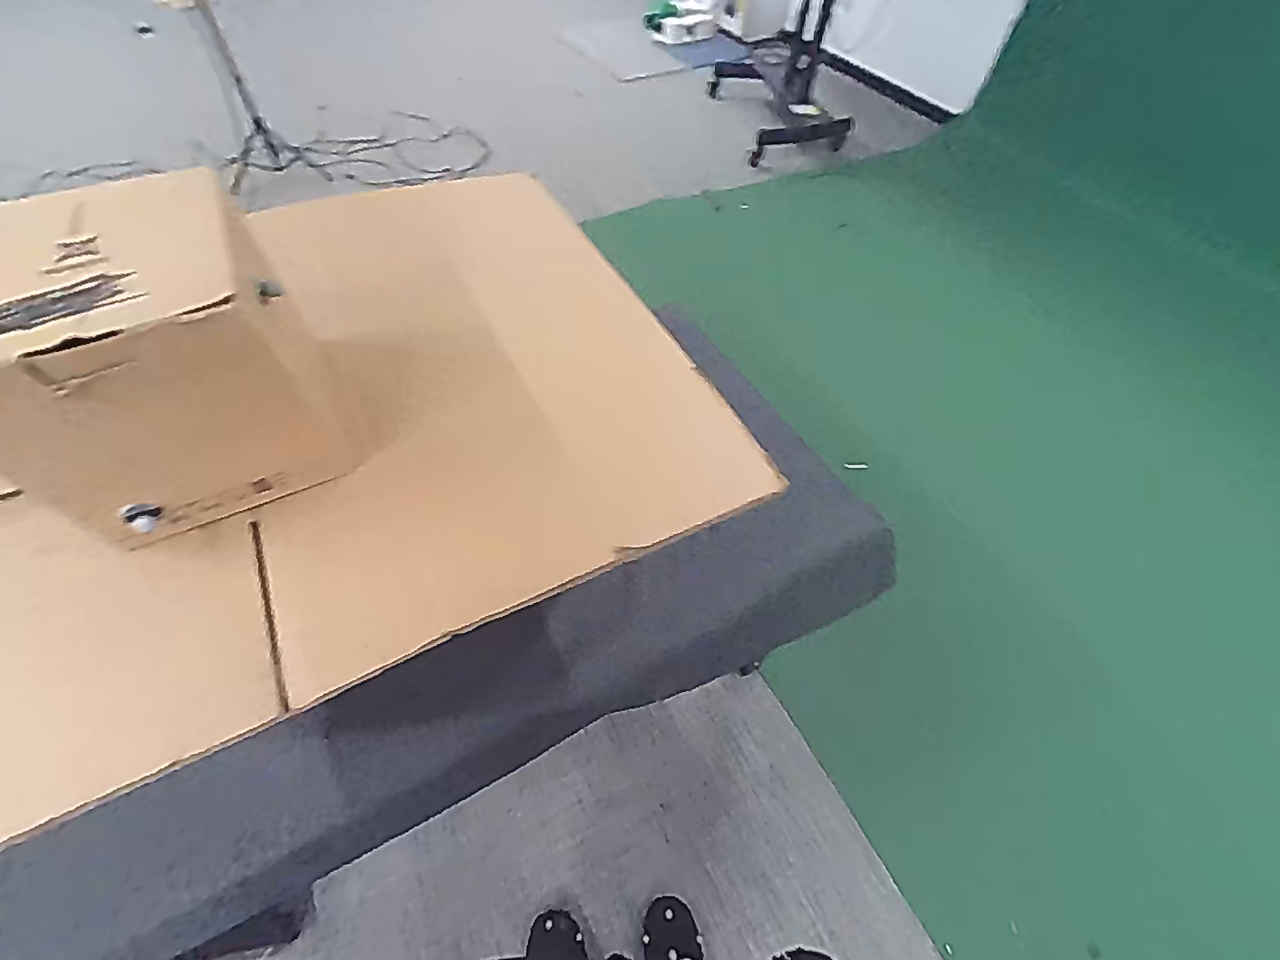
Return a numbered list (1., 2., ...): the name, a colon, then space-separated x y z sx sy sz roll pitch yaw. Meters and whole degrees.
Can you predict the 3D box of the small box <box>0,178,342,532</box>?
1. small box: -0.348 -0.083 0.398 0.168 0.176 0.179 -23 58 -17
